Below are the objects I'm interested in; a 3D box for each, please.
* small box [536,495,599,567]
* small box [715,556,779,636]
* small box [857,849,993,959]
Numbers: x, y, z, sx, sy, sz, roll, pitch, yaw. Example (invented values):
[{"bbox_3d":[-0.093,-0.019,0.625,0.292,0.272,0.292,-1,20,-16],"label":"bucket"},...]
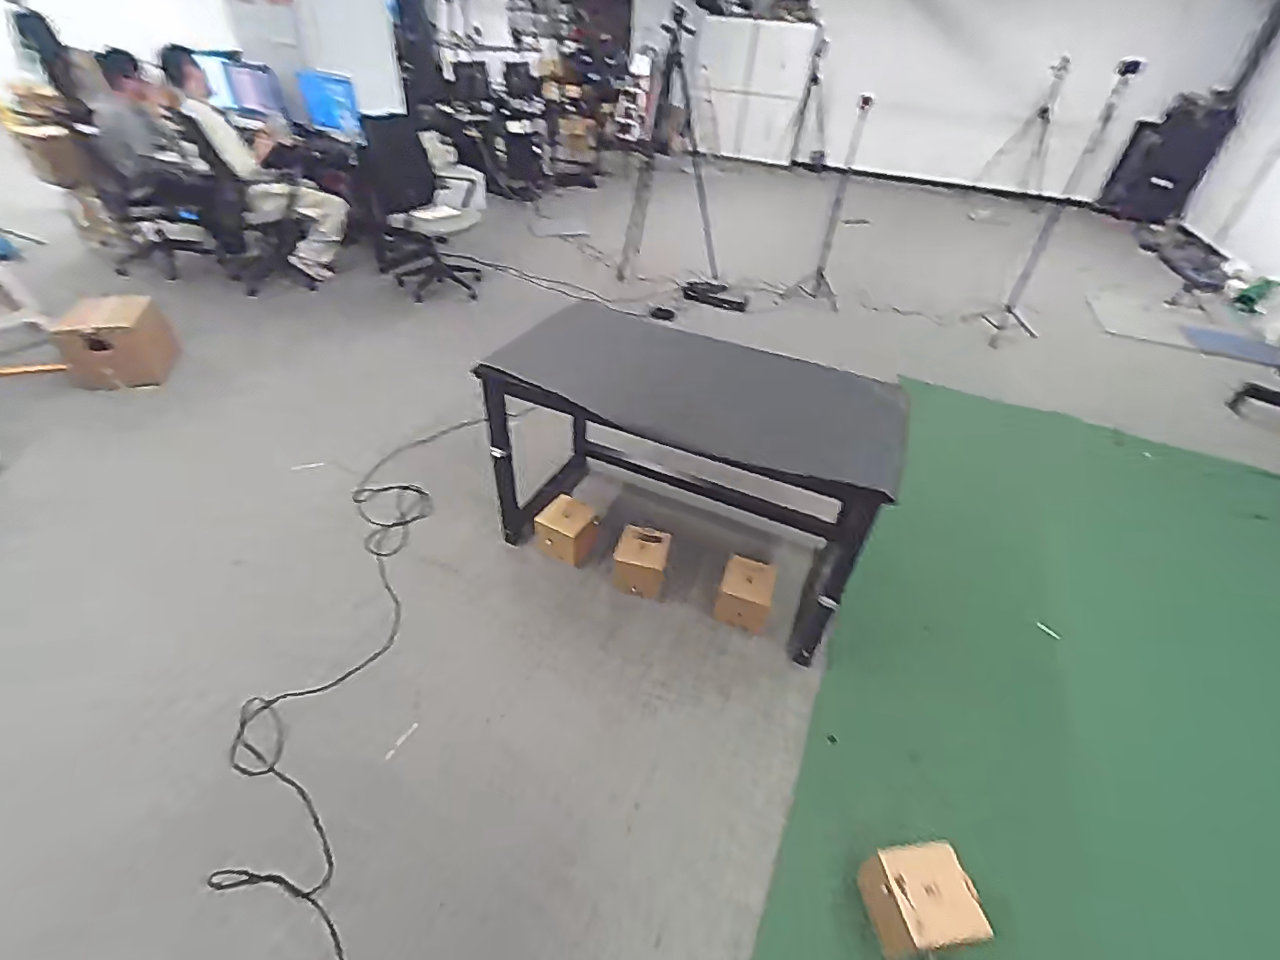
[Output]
[{"bbox_3d":[-0.264,0.193,2.010,0.168,0.176,0.179,22,42,21],"label":"small box"},{"bbox_3d":[0.357,0.393,1.818,0.168,0.176,0.179,16,40,13],"label":"small box"},{"bbox_3d":[0.608,0.934,1.179,0.179,0.176,0.168,-1,39,-8],"label":"small box"}]
